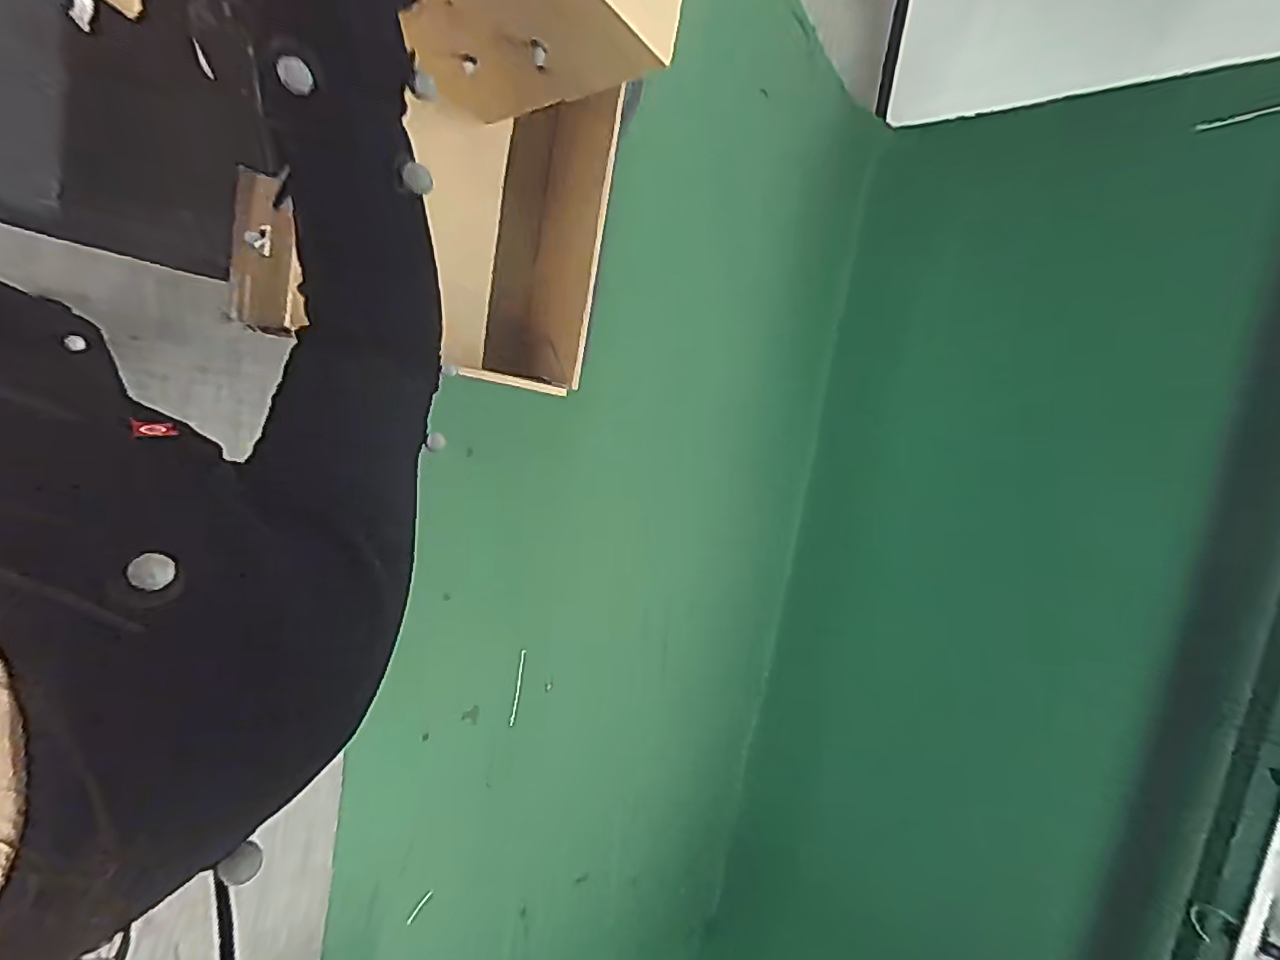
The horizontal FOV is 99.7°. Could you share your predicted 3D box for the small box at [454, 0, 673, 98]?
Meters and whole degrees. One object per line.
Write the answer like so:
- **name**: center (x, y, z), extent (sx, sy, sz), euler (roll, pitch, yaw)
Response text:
- **small box**: center (-0.075, -0.551, 0.570), extent (0.168, 0.176, 0.179), euler (3, 101, -52)
